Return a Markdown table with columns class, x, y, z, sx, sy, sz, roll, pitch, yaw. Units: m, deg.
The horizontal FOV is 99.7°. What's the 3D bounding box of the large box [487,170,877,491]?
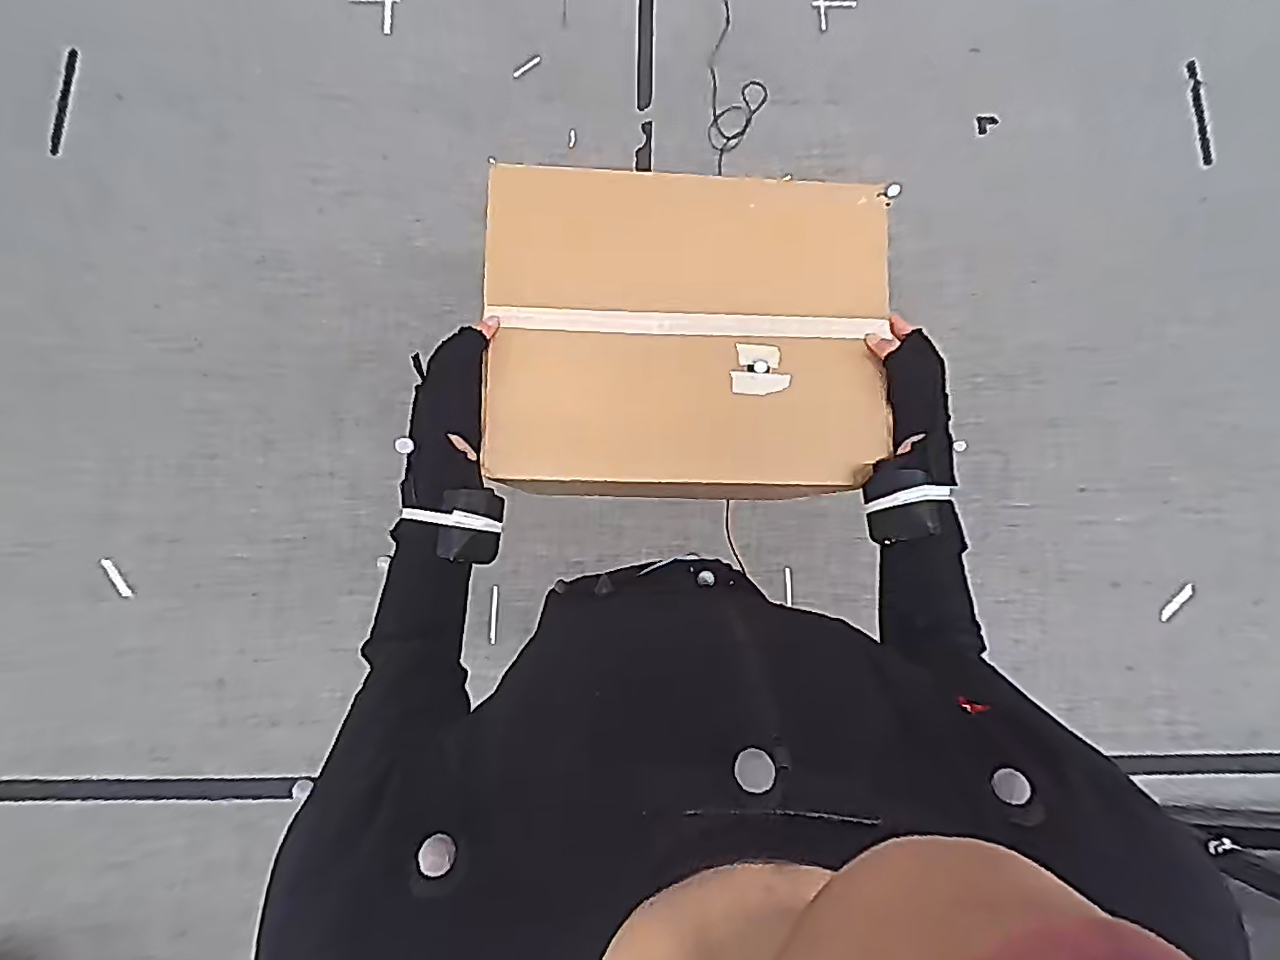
| class | x | y | z | sx | sy | sz | roll | pitch | yaw |
| --- | --- | --- | --- | --- | --- | --- | --- | --- | --- |
| large box | 0.035 | -0.149 | 0.699 | 0.408 | 0.320 | 0.320 | 2 | 87 | -5 |
